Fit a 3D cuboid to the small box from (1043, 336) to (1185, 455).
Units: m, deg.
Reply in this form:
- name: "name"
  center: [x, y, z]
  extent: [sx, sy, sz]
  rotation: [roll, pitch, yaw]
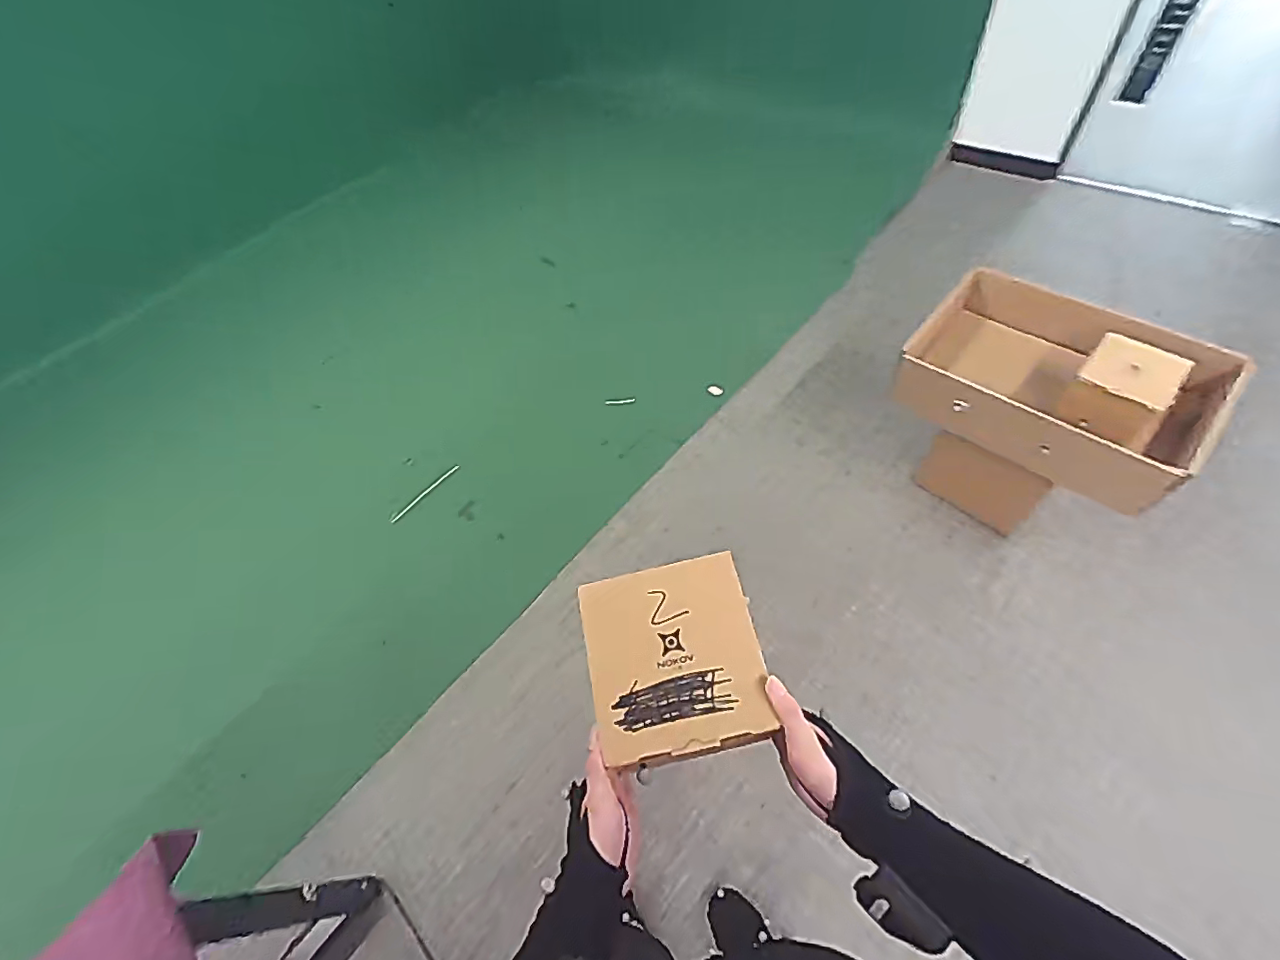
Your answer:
- name: "small box"
  center: [1.088, -0.193, 1.257]
  extent: [0.168, 0.176, 0.179]
  rotation: [36, 70, 27]
